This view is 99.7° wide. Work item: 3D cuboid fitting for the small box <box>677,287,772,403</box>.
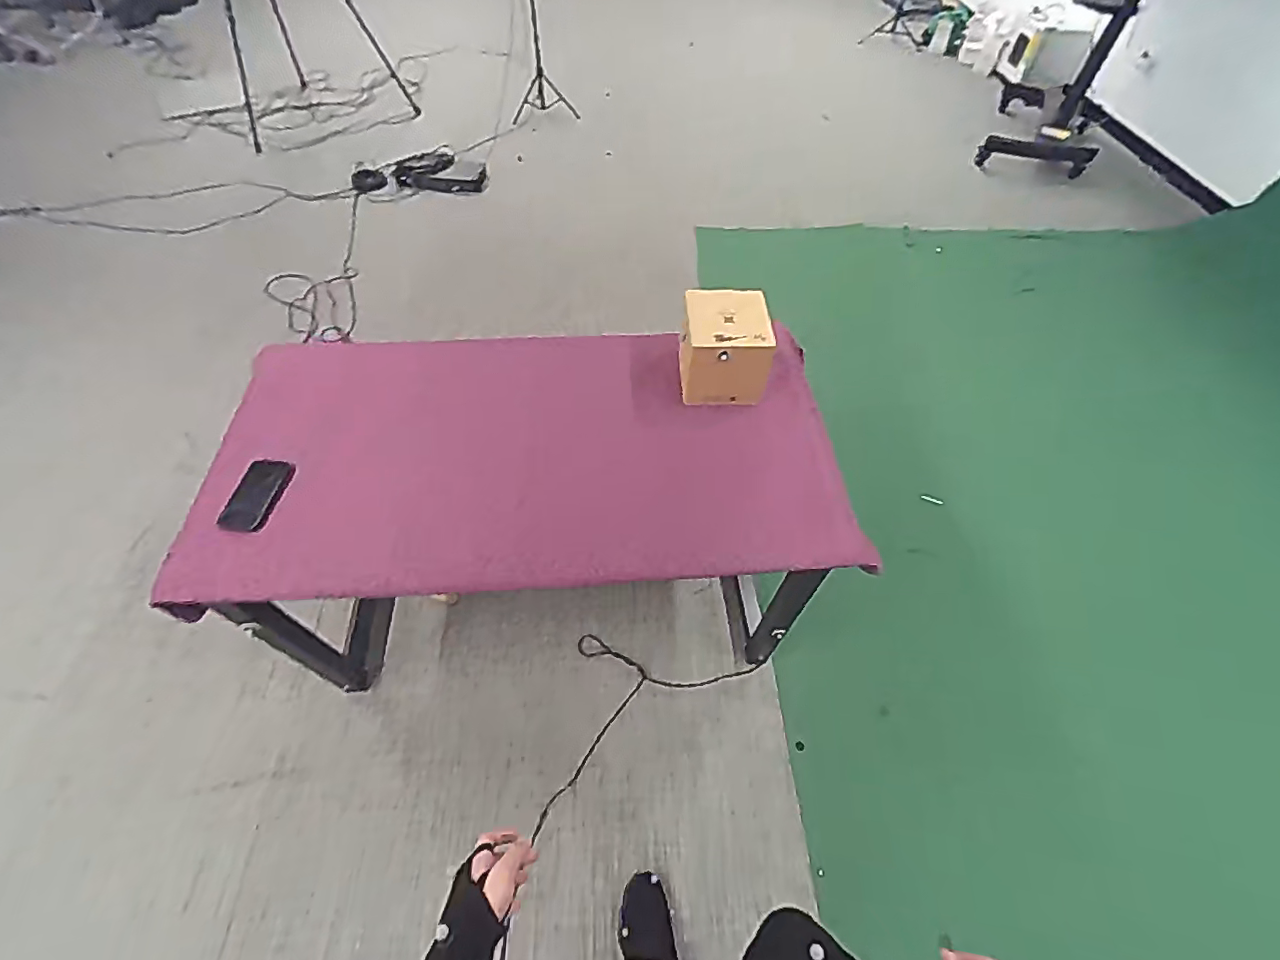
[{"bbox_3d":[0.169,-0.284,1.142,0.168,0.176,0.179,-1,55,-1],"label":"small box"}]
